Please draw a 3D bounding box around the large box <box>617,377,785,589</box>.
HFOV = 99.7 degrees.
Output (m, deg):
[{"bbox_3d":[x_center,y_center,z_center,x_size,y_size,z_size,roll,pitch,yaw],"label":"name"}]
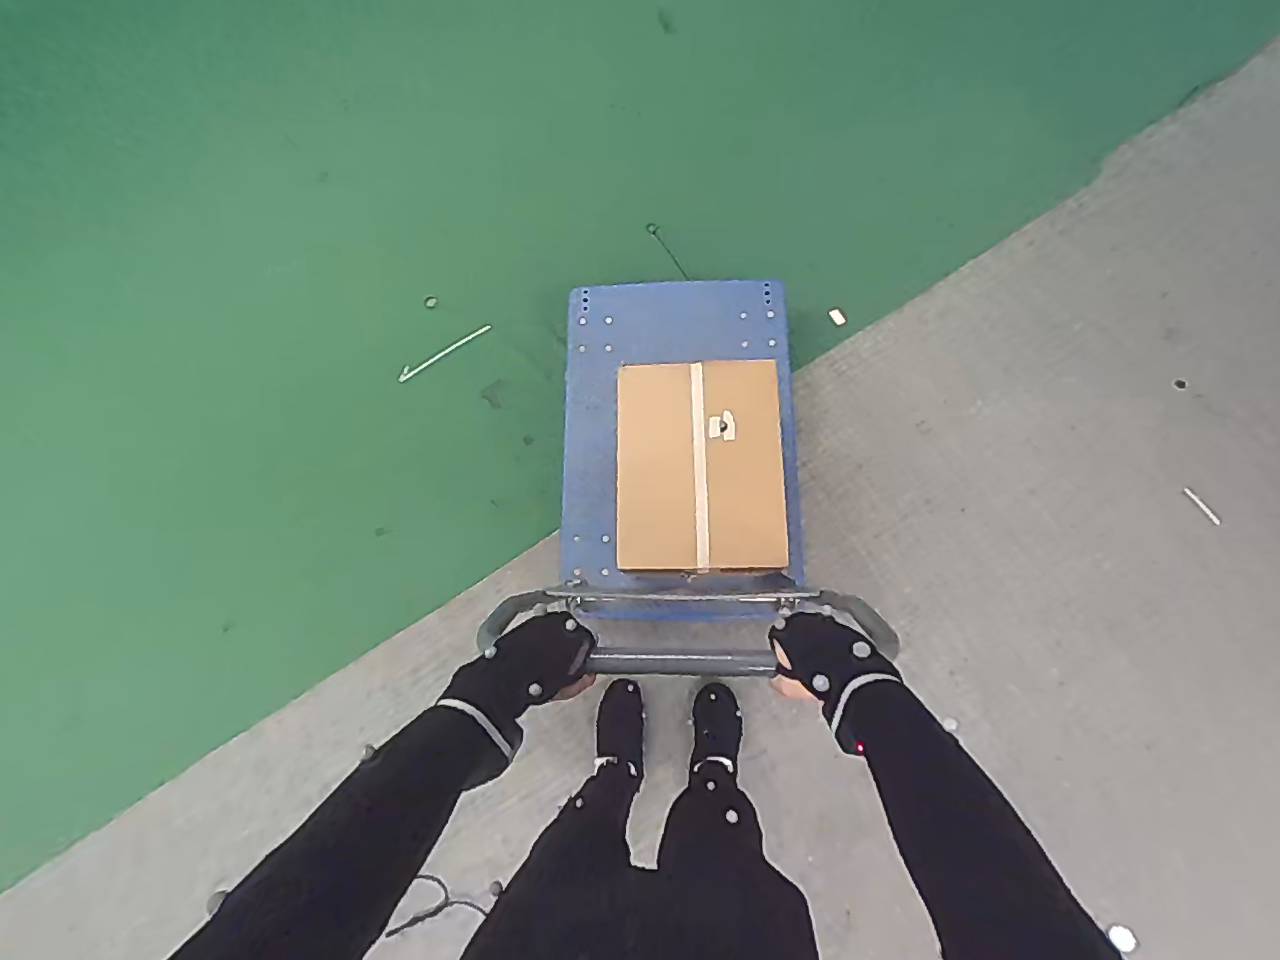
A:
[{"bbox_3d":[0.122,0.027,1.187,0.320,0.320,0.408,-1,76,3],"label":"large box"}]
